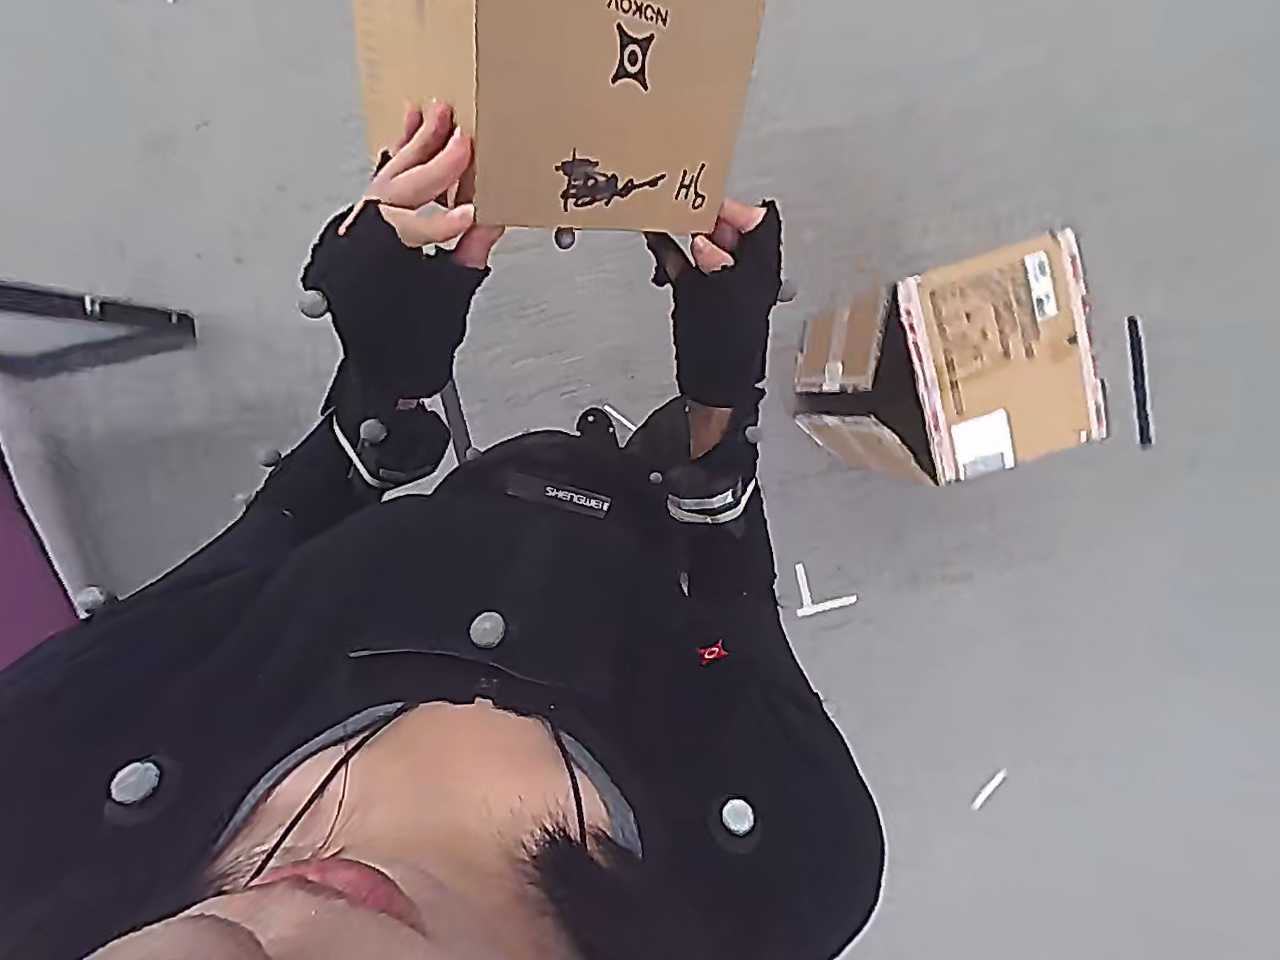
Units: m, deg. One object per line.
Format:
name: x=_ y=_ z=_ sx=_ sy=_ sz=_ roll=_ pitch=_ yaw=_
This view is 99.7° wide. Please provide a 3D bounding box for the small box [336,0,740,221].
small box: x=-0.063 y=-0.257 z=0.304 sx=0.168 sy=0.176 sz=0.179 roll=-17 pitch=130 yaw=-35
